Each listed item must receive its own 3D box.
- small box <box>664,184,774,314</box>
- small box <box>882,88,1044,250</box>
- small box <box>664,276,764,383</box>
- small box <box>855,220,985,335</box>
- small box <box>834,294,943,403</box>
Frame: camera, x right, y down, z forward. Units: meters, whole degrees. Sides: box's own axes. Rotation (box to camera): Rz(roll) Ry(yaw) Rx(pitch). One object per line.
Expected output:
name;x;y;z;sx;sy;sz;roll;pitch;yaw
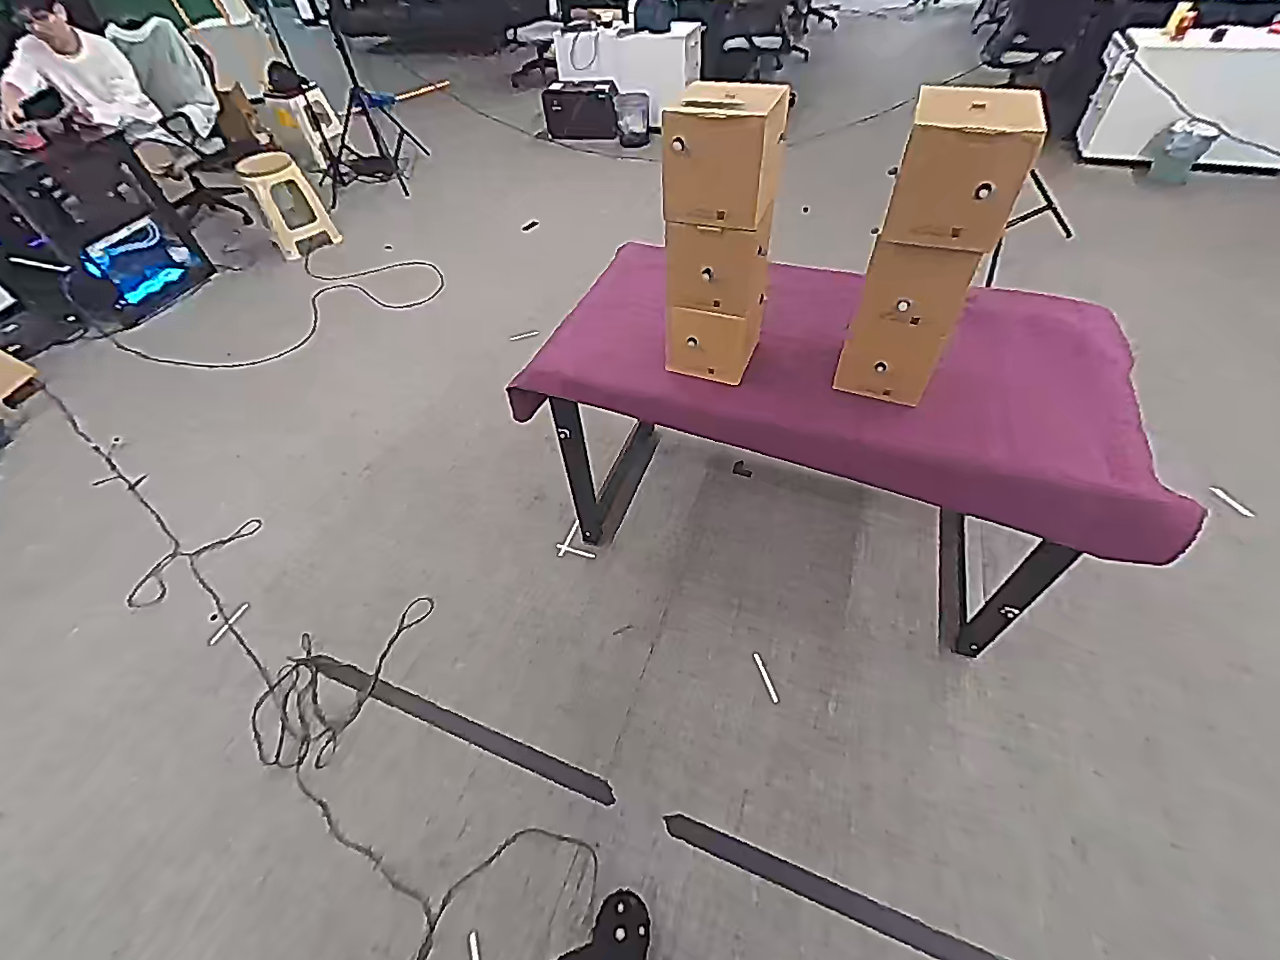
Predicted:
small box;0.152;-0.444;1.044;0.168;0.176;0.179;14;52;14
small box;0.485;-0.478;0.834;0.168;0.176;0.179;15;52;15
small box;0.160;-0.333;1.164;0.168;0.176;0.179;16;52;16
small box;0.500;-0.390;0.972;0.168;0.176;0.179;17;54;17
small box;0.505;-0.282;1.096;0.168;0.176;0.179;17;53;17
